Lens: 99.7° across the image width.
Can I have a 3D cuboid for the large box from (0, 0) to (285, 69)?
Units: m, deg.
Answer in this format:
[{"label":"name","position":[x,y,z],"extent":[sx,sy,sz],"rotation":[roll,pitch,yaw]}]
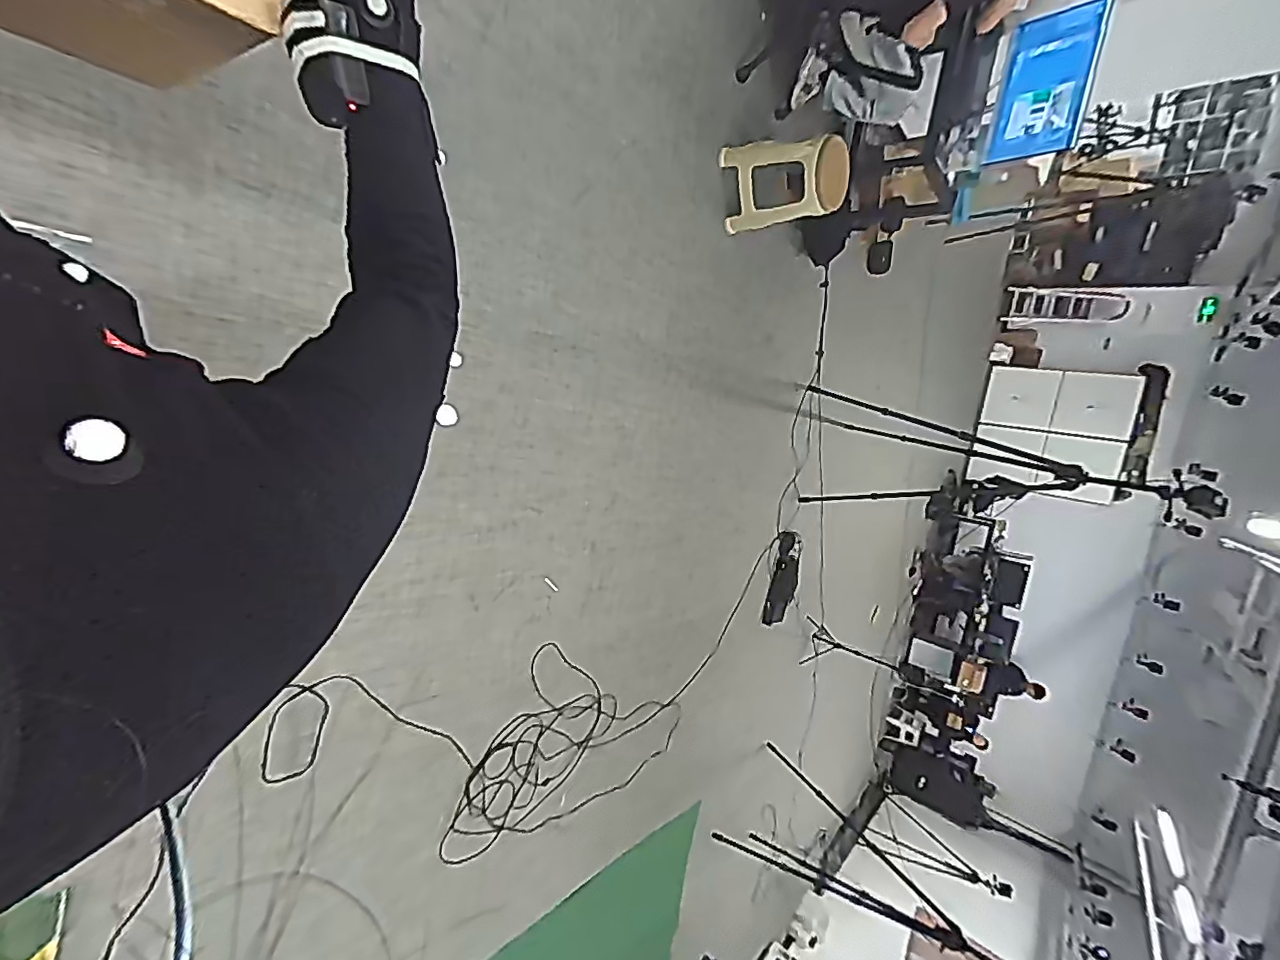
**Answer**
[{"label":"large box","position":[-0.463,-0.504,0.280],"extent":[0.408,0.320,0.320],"rotation":[-6,113,-53]}]
